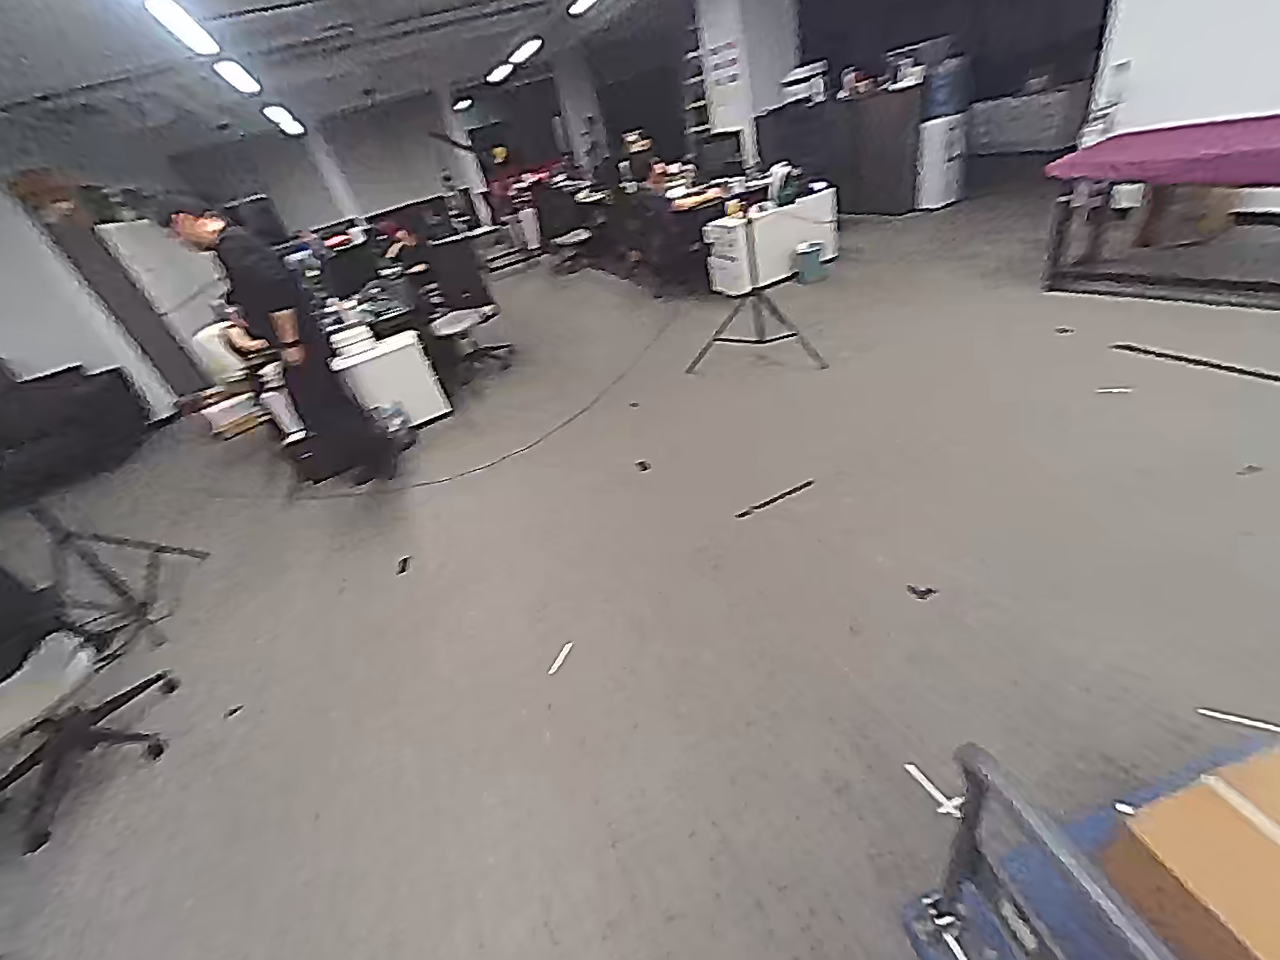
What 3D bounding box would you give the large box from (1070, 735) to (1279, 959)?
[{"bbox_3d":[0.966,0.688,0.795,0.320,0.320,0.408,-20,32,-7],"label":"large box"}]
